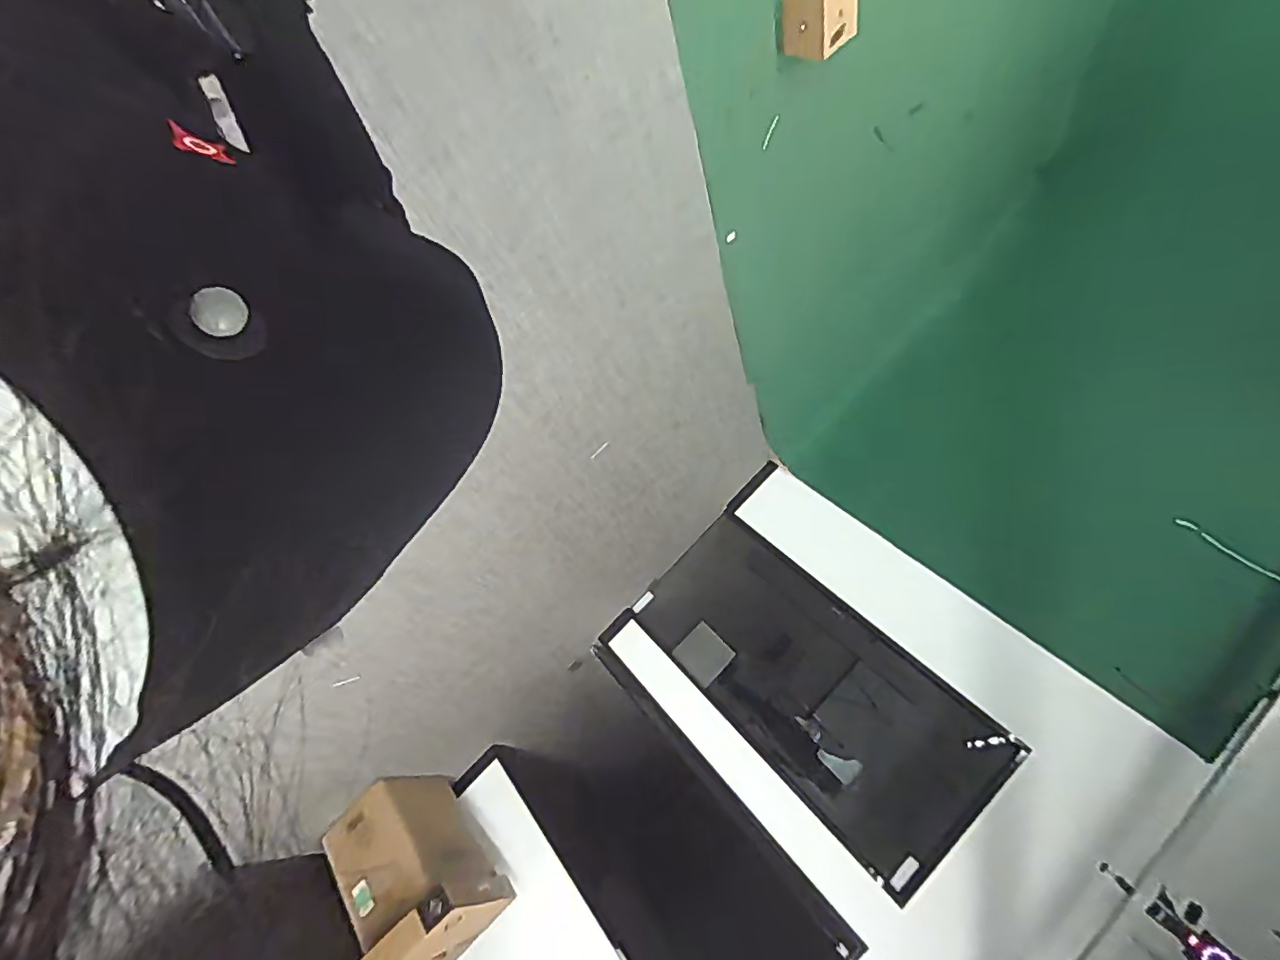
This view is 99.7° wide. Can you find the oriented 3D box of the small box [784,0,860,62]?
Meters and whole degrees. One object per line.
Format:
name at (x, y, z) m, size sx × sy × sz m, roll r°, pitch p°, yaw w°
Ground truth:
small box at (0.585, -1.504, 1.745) m, size 0.168 × 0.176 × 0.179 m, roll -44°, pitch 147°, yaw -9°
